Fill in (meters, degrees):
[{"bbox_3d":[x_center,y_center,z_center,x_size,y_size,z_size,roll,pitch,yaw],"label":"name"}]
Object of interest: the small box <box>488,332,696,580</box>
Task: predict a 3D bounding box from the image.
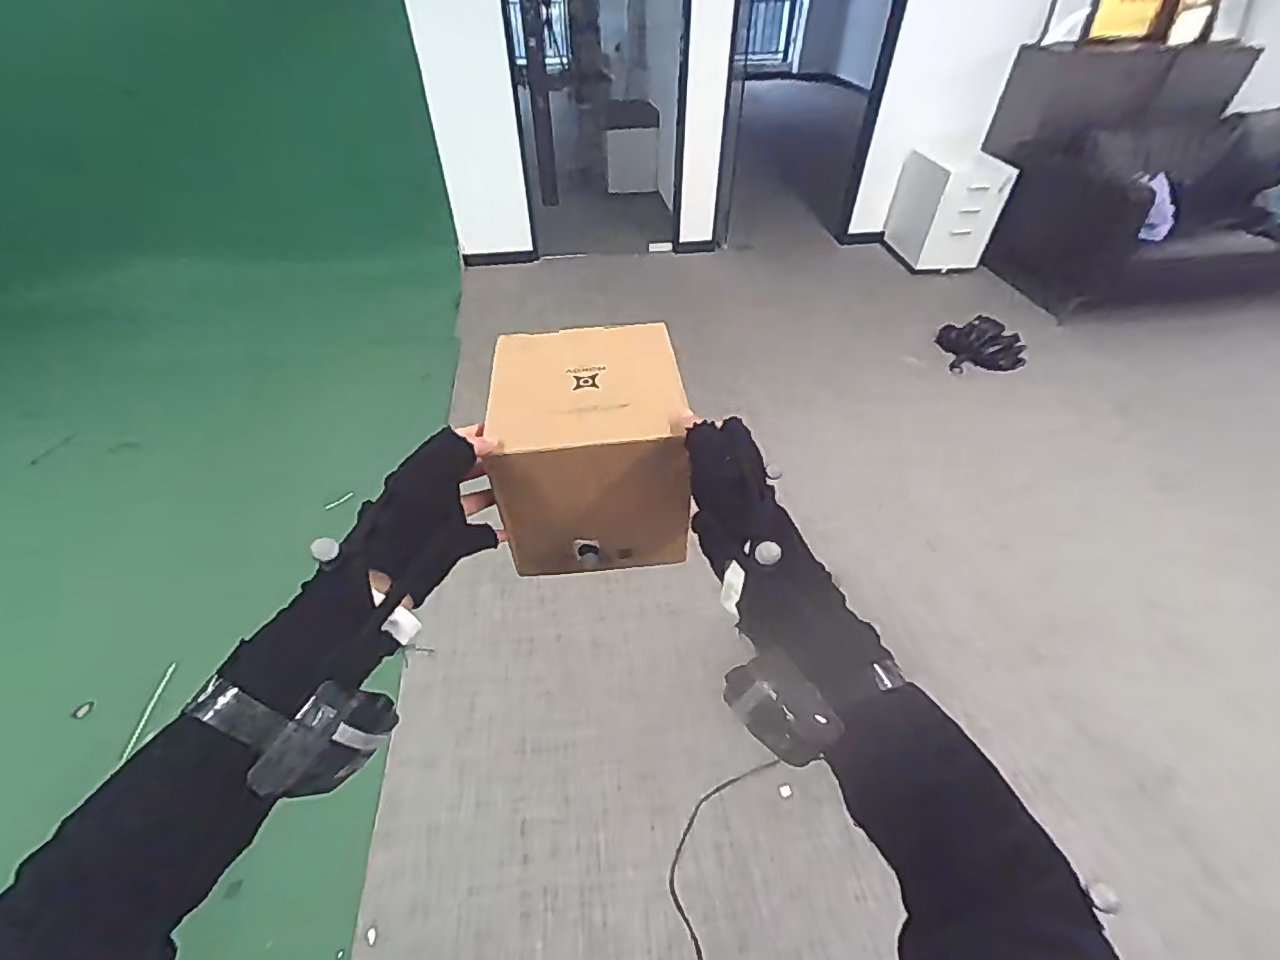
[{"bbox_3d":[-0.044,-0.025,0.535,0.168,0.176,0.179,-5,45,-3],"label":"small box"}]
